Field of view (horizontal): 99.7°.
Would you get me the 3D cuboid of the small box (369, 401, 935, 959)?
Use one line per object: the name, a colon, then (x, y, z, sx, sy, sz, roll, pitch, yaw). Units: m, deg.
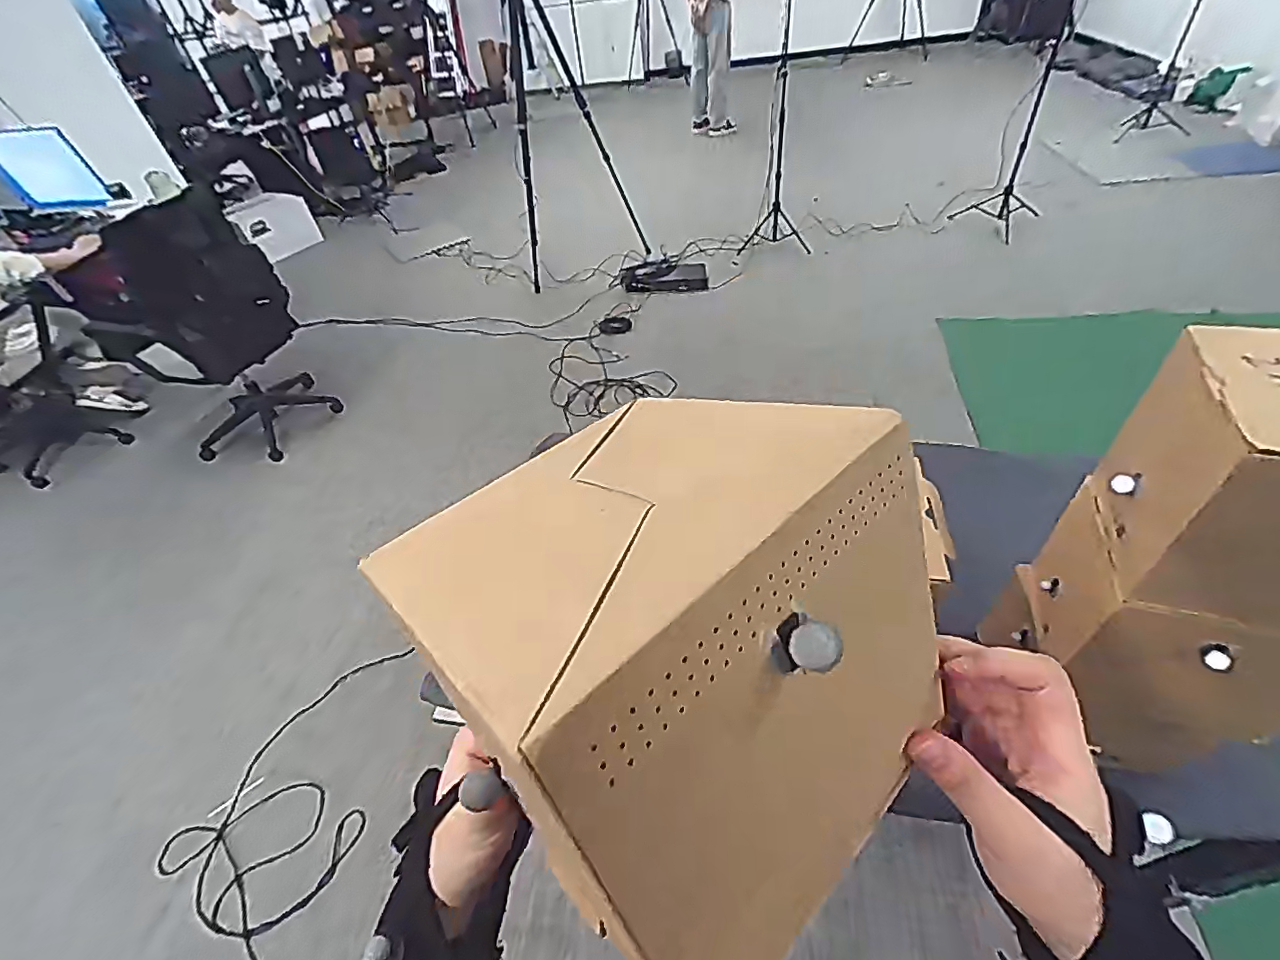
small box: (0.007, 0.073, 0.252, 0.179, 0.176, 0.168, -34, 28, -28)

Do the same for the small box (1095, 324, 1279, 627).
small box: (0.504, 0.001, 0.420, 0.179, 0.176, 0.168, 11, 47, 22)

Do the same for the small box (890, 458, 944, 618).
small box: (0.214, 0.088, 0.612, 0.179, 0.176, 0.168, 2, 45, 12)

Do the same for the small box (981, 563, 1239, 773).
small box: (0.543, 0.225, 0.655, 0.168, 0.176, 0.179, 2, 45, 13)

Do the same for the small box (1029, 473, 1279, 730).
small box: (0.521, 0.119, 0.533, 0.179, 0.176, 0.168, 10, 47, 21)
